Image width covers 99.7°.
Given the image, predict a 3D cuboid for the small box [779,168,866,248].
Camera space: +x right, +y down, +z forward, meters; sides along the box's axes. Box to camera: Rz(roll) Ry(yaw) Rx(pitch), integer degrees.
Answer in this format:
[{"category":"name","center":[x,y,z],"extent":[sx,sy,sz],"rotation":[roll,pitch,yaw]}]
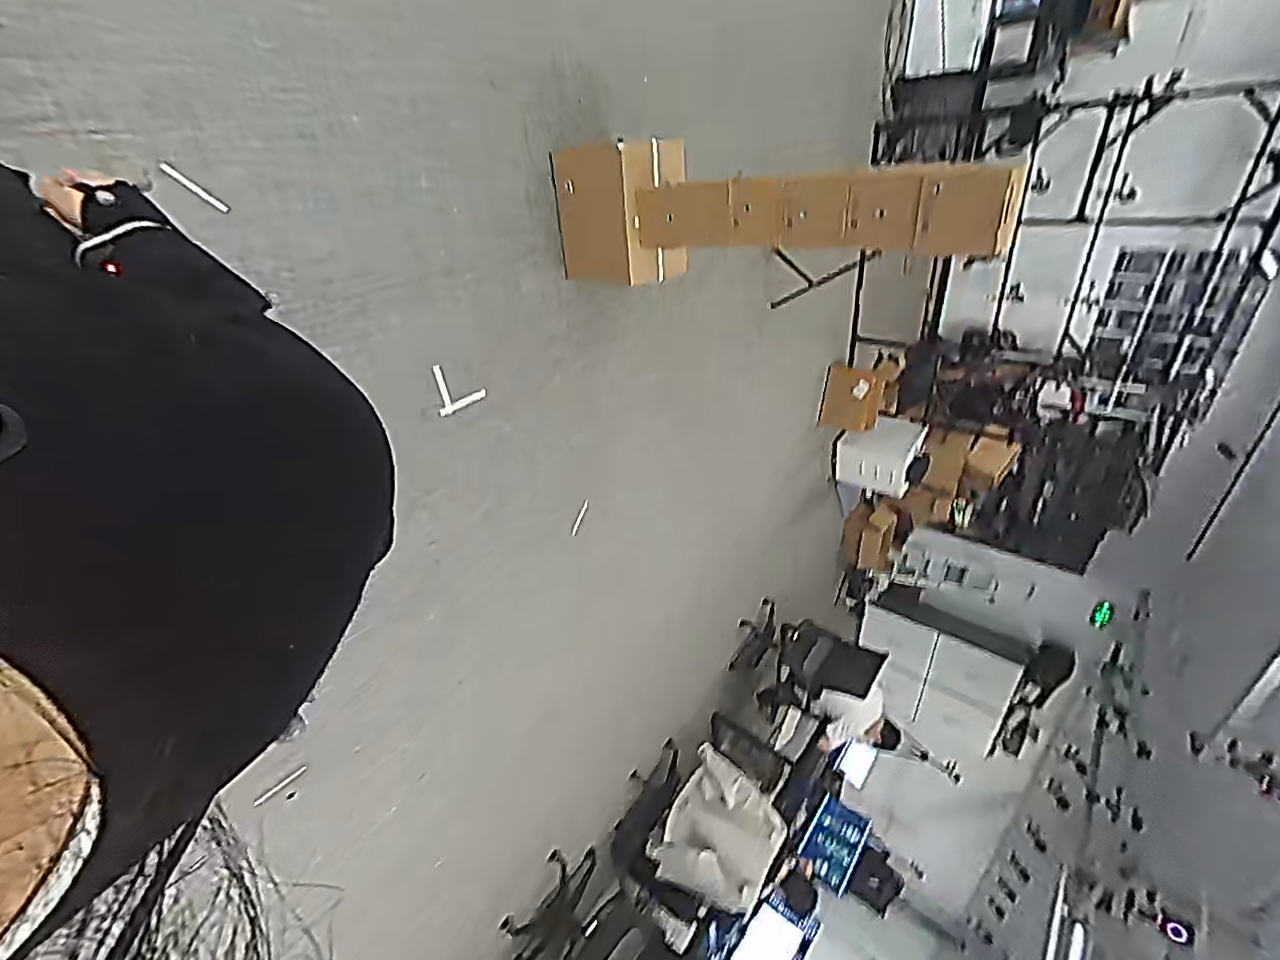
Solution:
[{"category":"small box","center":[0.481,-0.710,1.407],"extent":[0.179,0.176,0.168],"rotation":[-35,131,-37]}]

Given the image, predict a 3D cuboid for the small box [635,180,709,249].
[{"category":"small box","center":[0.098,-0.829,1.690],"extent":[0.168,0.176,0.179],"rotation":[-35,132,-38]}]

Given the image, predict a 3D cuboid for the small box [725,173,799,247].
[{"category":"small box","center":[0.354,-0.753,1.502],"extent":[0.179,0.176,0.168],"rotation":[-34,131,-38]}]

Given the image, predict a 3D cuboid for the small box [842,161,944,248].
[{"category":"small box","center":[0.609,-0.666,1.314],"extent":[0.179,0.176,0.168],"rotation":[-36,132,-36]}]

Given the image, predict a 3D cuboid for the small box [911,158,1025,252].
[{"category":"small box","center":[0.727,-0.613,1.212],"extent":[0.179,0.176,0.168],"rotation":[-37,132,-37]}]
